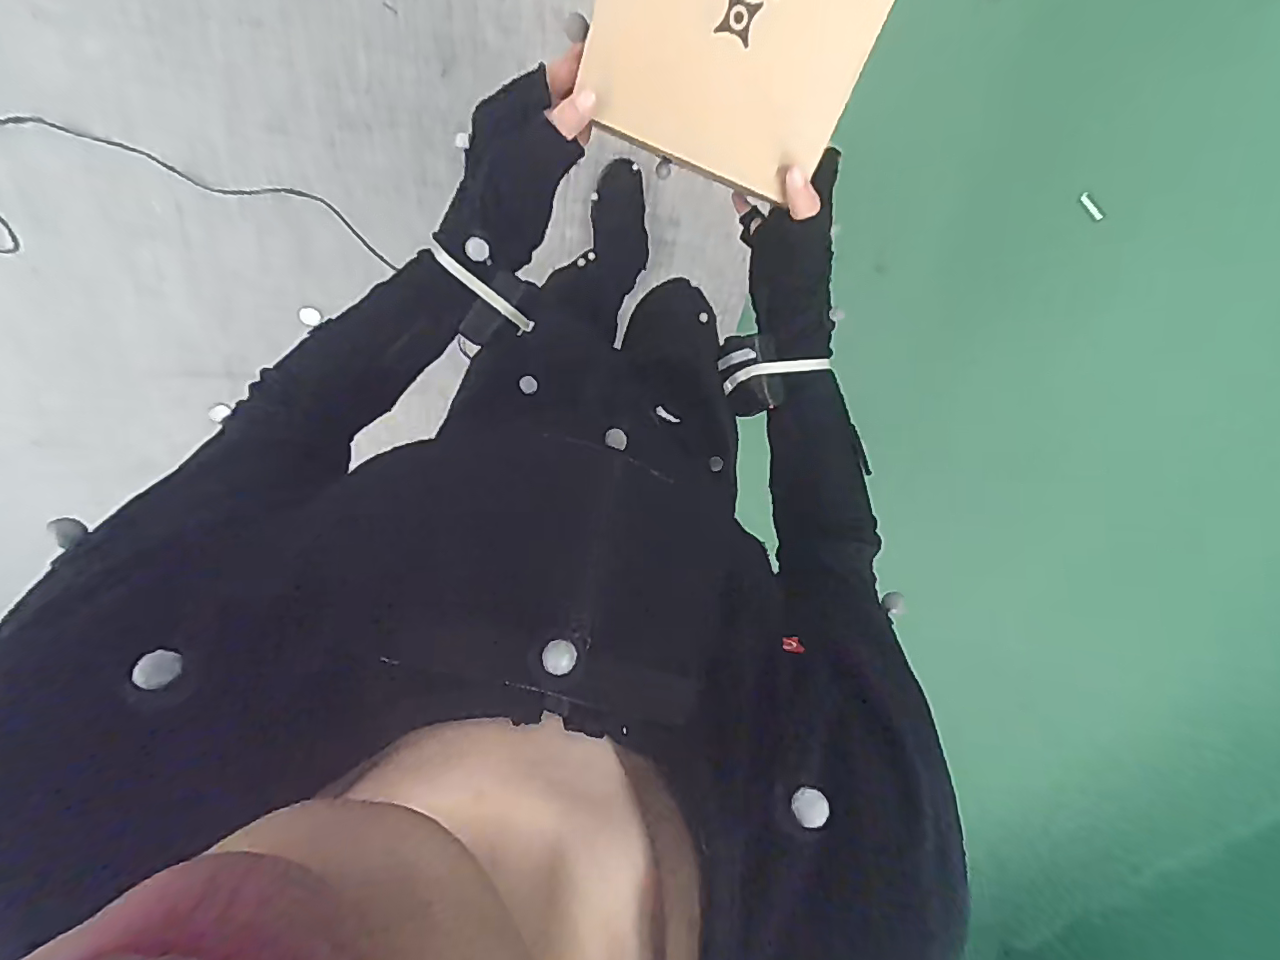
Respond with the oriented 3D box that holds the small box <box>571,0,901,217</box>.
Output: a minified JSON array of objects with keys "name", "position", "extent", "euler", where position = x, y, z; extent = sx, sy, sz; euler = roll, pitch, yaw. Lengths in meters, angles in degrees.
[{"name":"small box","position":[0.059,-0.316,0.386],"extent":[0.168,0.176,0.179],"euler":[17,118,-14]}]
